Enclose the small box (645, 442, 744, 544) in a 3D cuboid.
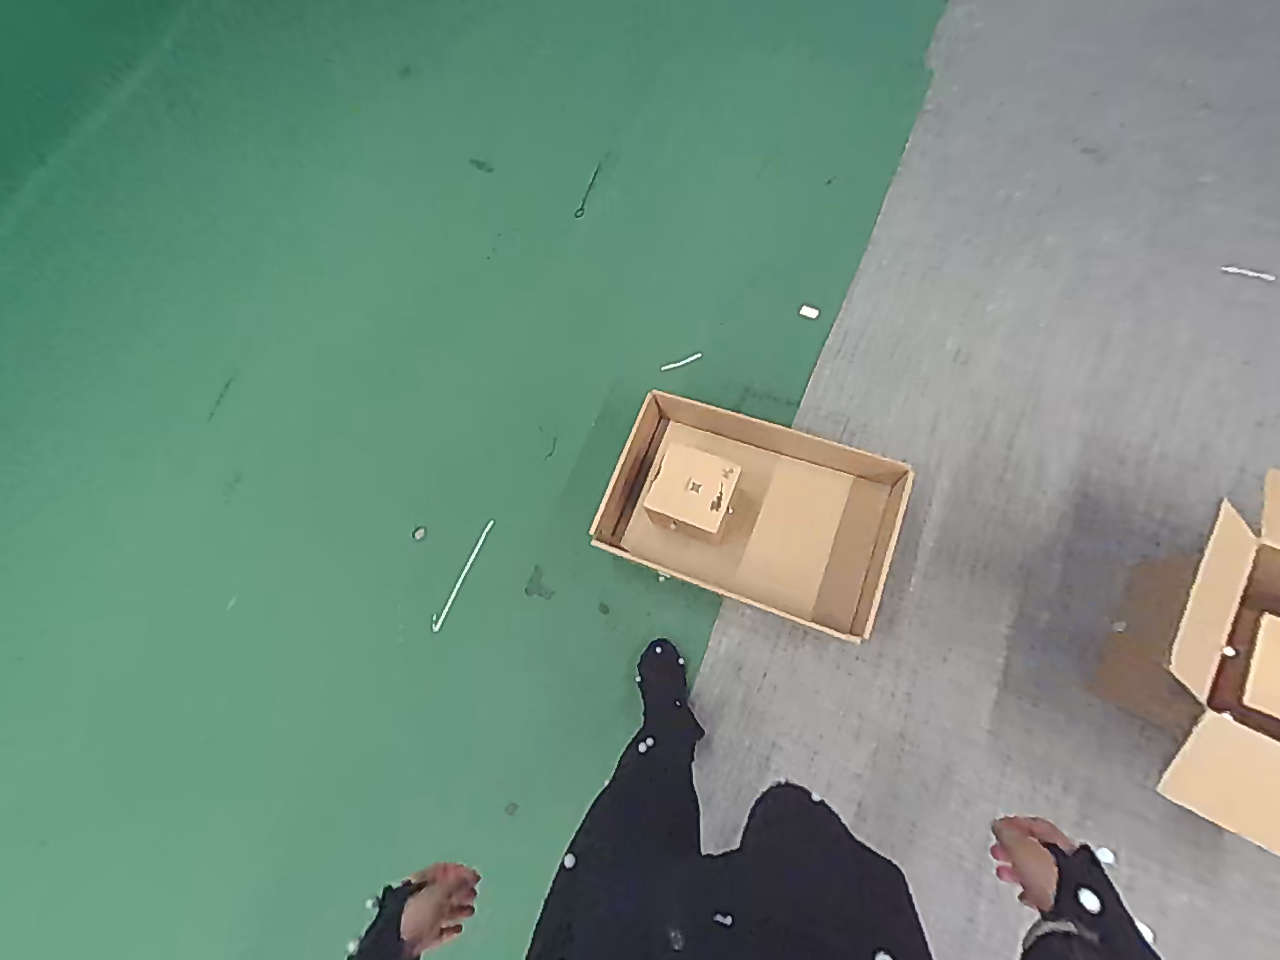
[{"bbox_3d":[0.132,0.037,1.260,0.179,0.176,0.168,20,76,14],"label":"small box"}]
